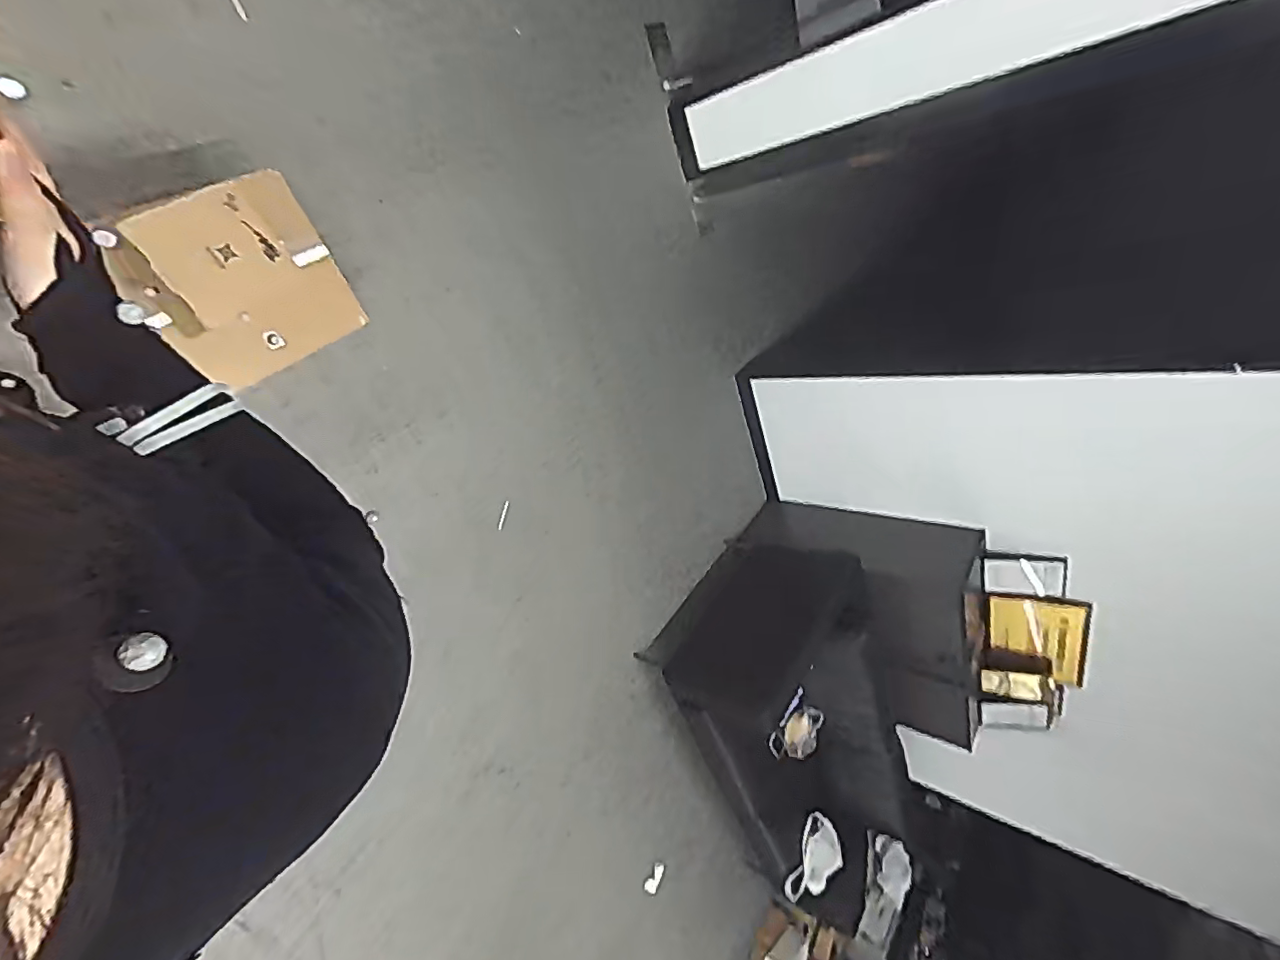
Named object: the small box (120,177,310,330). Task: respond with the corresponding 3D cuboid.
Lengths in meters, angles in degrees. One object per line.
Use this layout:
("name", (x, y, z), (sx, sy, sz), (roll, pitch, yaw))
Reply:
("small box", (-0.696, -0.362, 0.890), (0.179, 0.176, 0.168), (-48, 127, -30))

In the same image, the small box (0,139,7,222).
("small box", (-0.456, -0.239, 0.266), (0.179, 0.176, 0.168), (-8, 115, -45))
